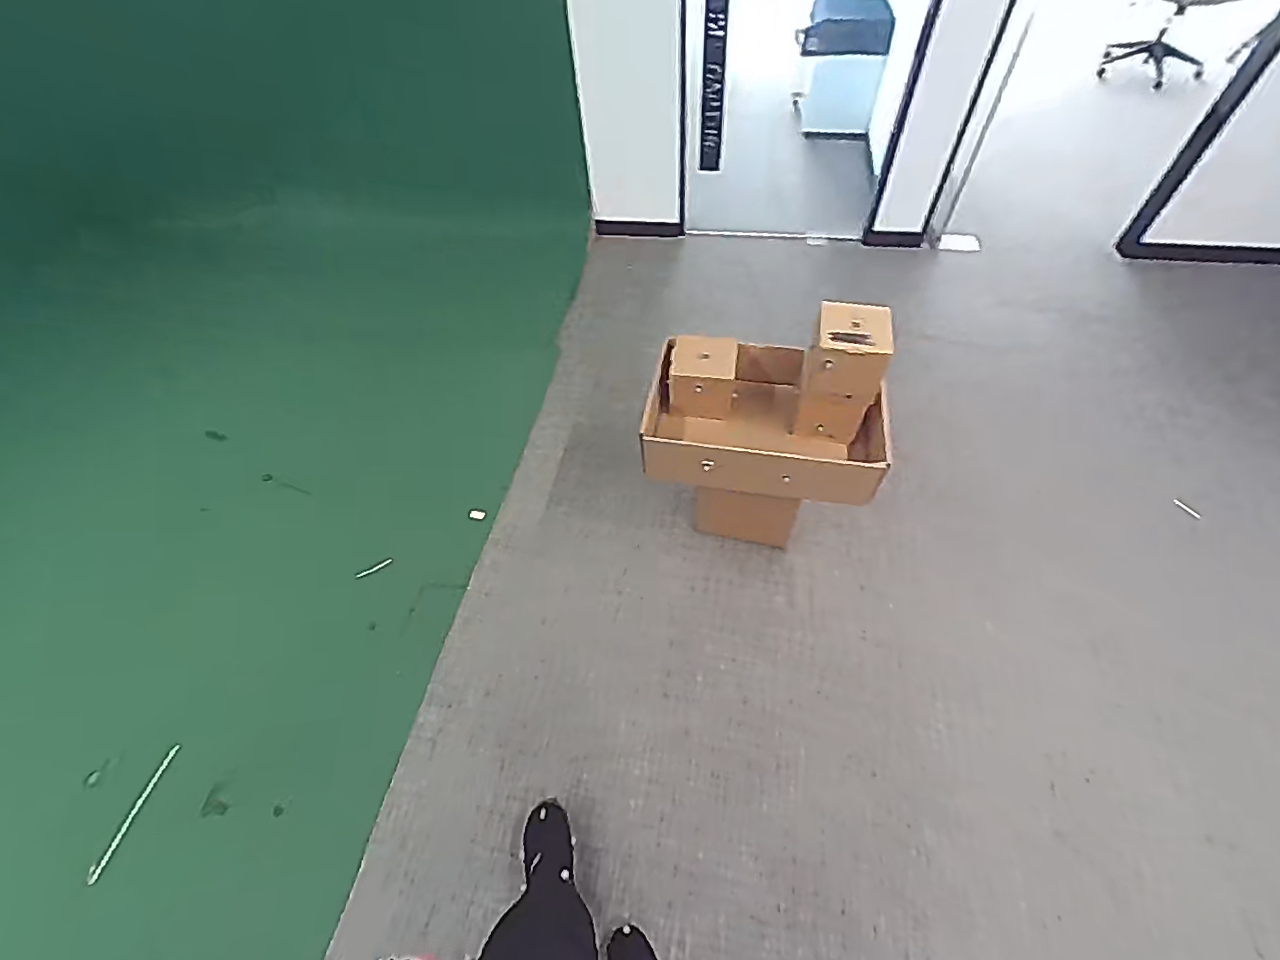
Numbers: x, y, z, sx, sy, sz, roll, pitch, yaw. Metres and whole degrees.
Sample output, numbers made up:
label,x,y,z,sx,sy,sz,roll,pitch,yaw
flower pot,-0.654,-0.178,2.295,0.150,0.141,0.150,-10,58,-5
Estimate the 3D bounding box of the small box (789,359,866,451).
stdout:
label,x,y,z,sx,sy,sz,roll,pitch,yaw
small box,0.513,-0.206,1.494,0.168,0.176,0.179,9,55,9
